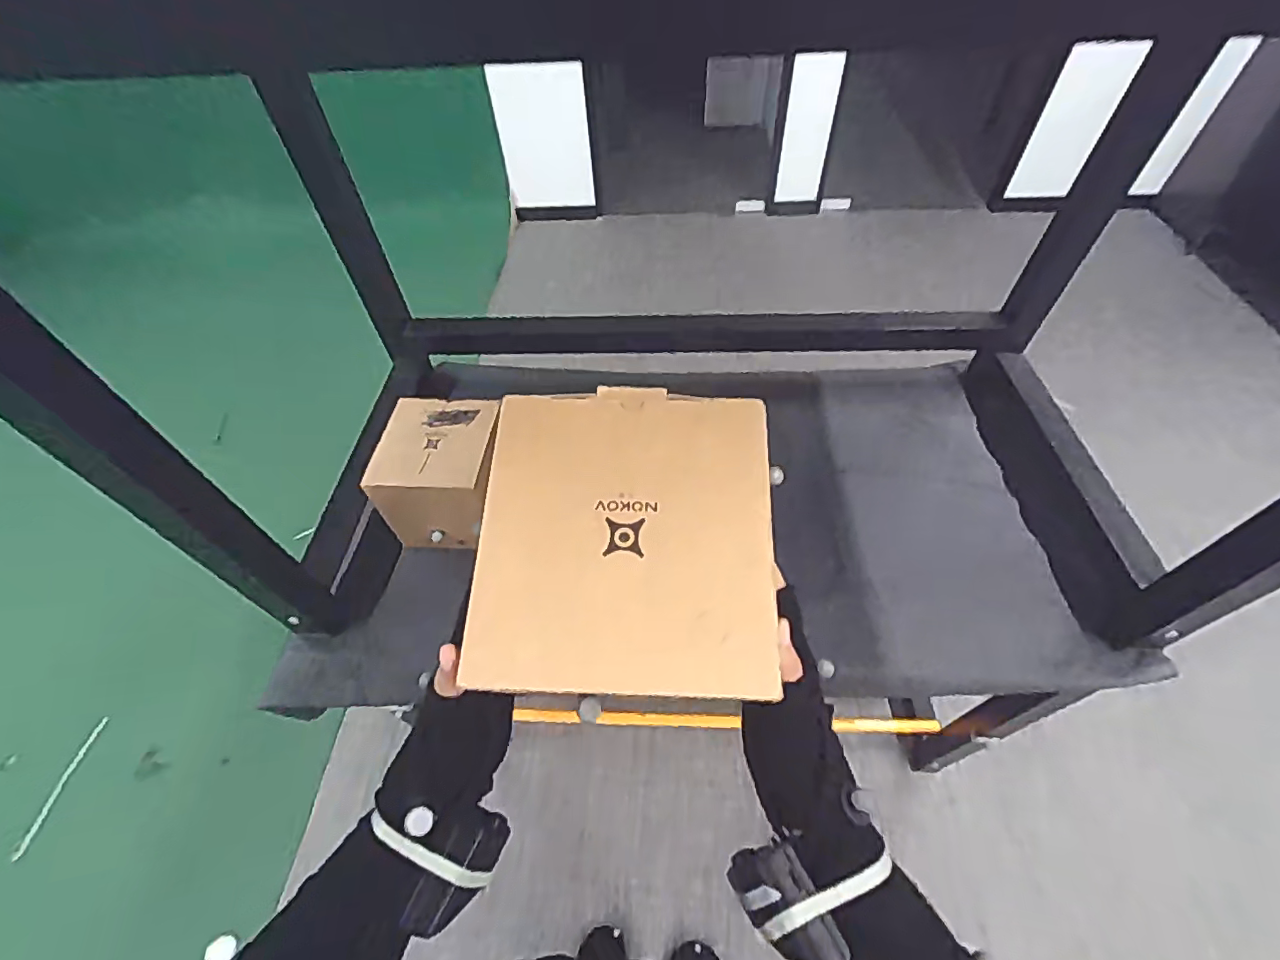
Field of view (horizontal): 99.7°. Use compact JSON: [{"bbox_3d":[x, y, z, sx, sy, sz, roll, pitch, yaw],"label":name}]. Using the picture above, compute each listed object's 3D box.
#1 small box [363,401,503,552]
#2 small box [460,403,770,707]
[{"bbox_3d":[-0.300,-0.005,0.861,0.168,0.176,0.179,2,52,3],"label":"small box"},{"bbox_3d":[-0.008,0.064,0.383,0.168,0.176,0.179,1,66,2],"label":"small box"}]
